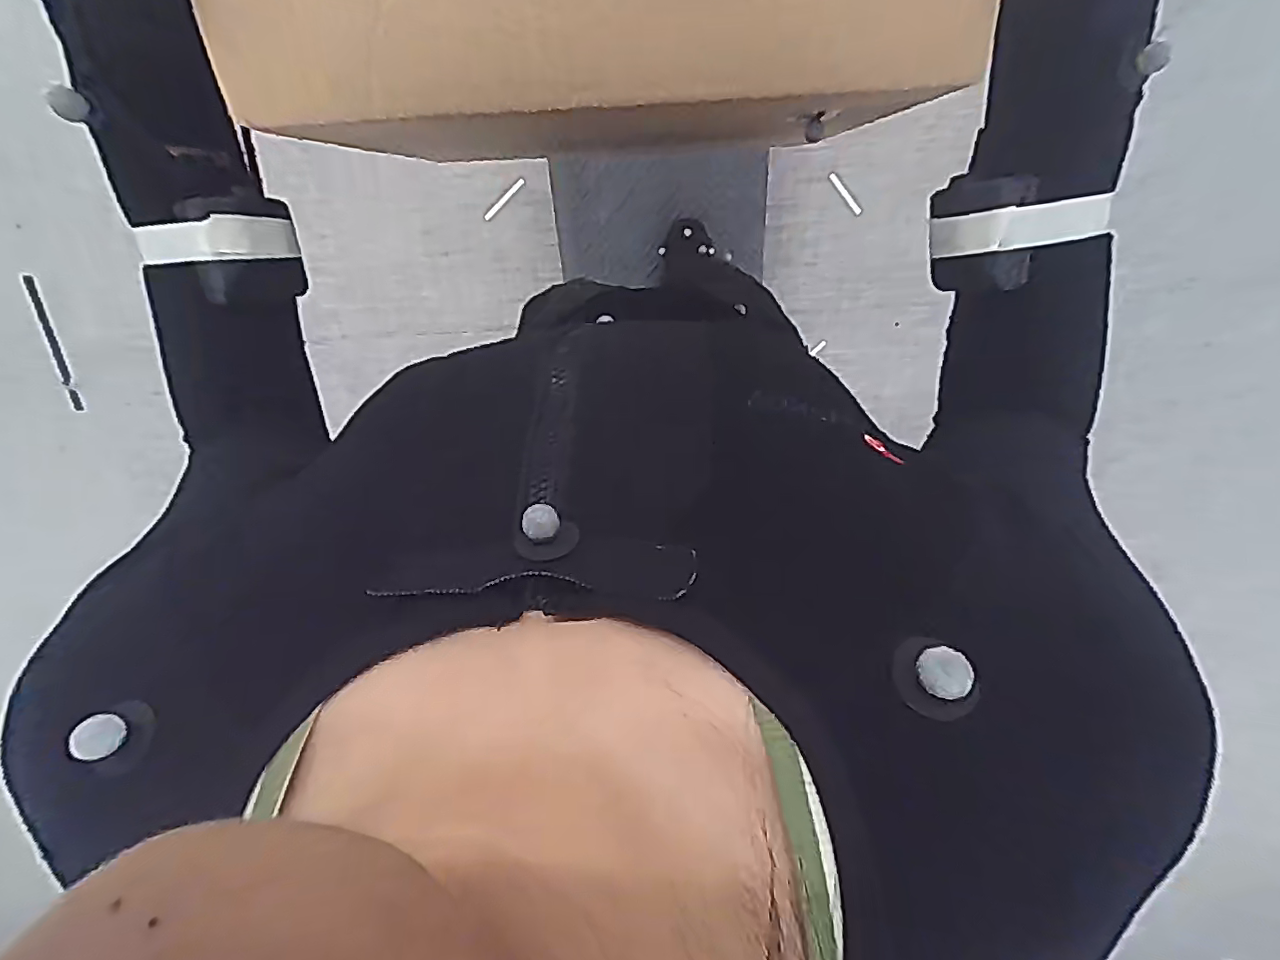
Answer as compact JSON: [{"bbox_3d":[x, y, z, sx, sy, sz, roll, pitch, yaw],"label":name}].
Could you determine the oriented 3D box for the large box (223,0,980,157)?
[{"bbox_3d":[-0.024,-0.415,0.364,0.408,0.320,0.320,-2,117,2],"label":"large box"}]
